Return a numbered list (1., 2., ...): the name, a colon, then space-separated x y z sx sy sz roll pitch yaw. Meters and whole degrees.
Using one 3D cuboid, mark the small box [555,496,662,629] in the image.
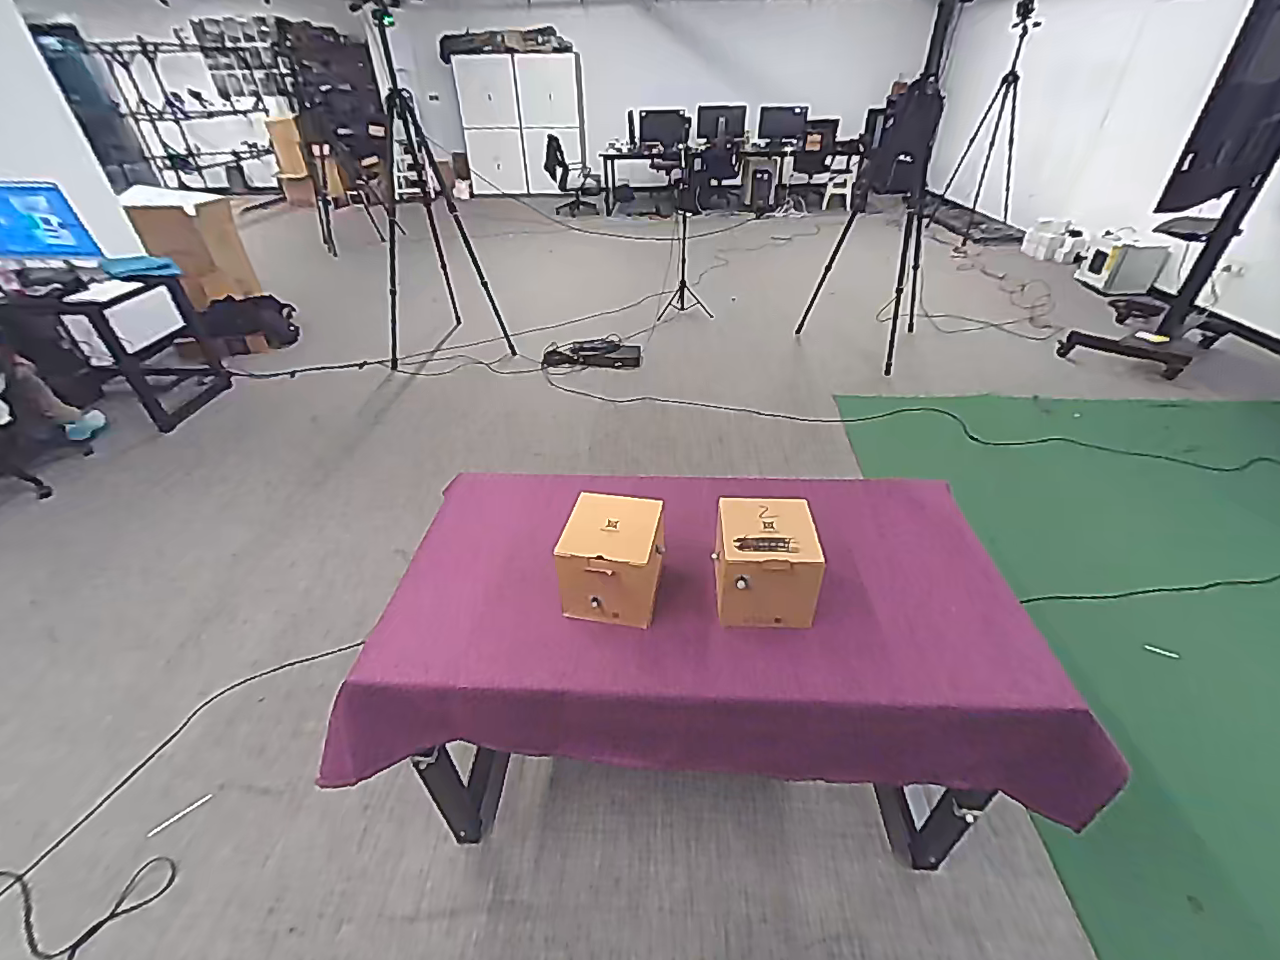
1. small box: -0.053 0.155 1.040 0.168 0.176 0.179 6 38 10
